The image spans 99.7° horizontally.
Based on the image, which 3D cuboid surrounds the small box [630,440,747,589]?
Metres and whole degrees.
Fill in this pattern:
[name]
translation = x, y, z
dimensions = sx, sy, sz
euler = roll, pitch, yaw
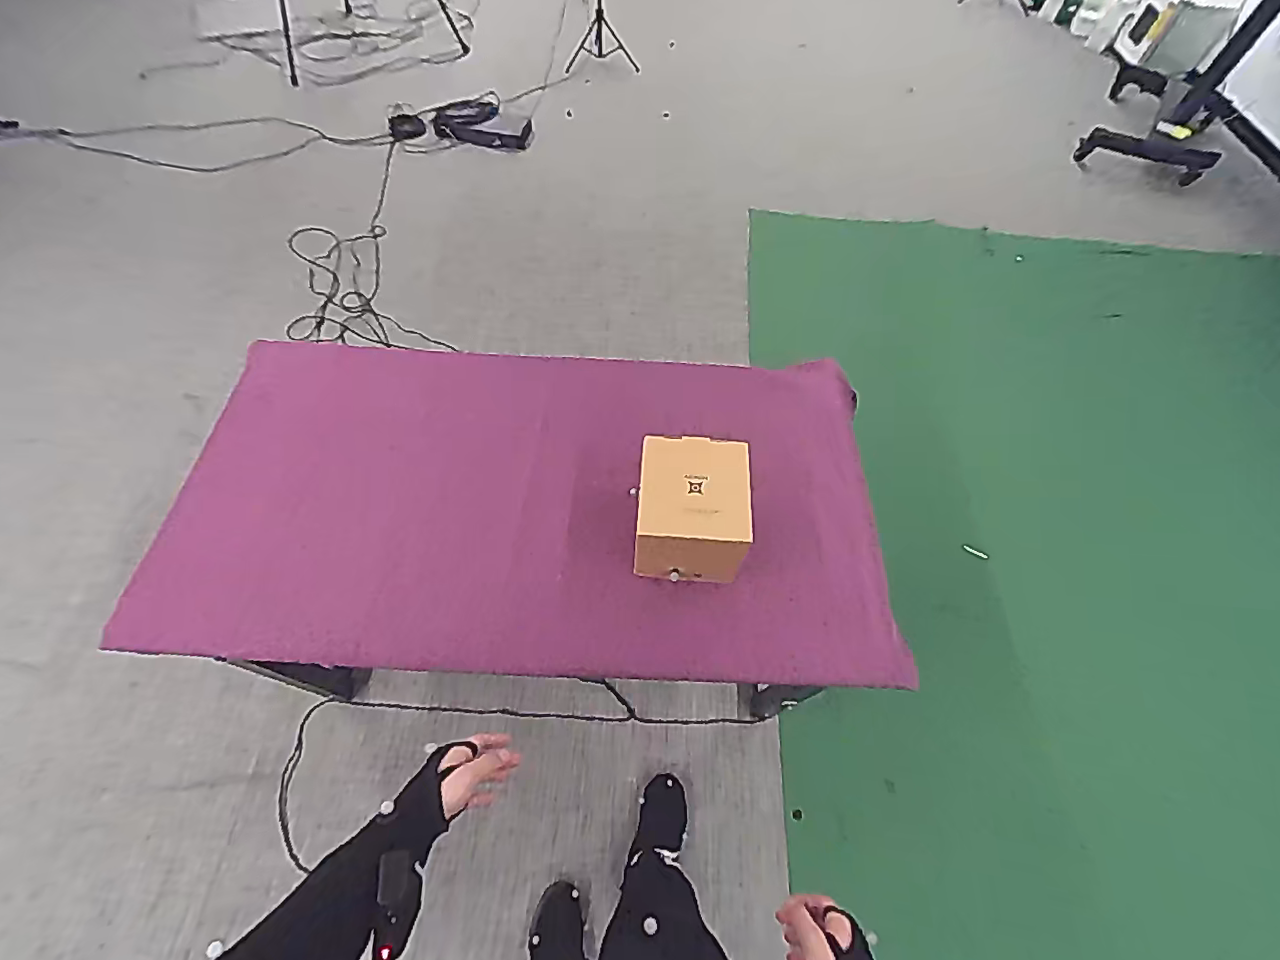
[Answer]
[small box]
translation = 0.073, 0.059, 0.871
dimensions = 0.168, 0.176, 0.179
euler = 4, 58, 1
